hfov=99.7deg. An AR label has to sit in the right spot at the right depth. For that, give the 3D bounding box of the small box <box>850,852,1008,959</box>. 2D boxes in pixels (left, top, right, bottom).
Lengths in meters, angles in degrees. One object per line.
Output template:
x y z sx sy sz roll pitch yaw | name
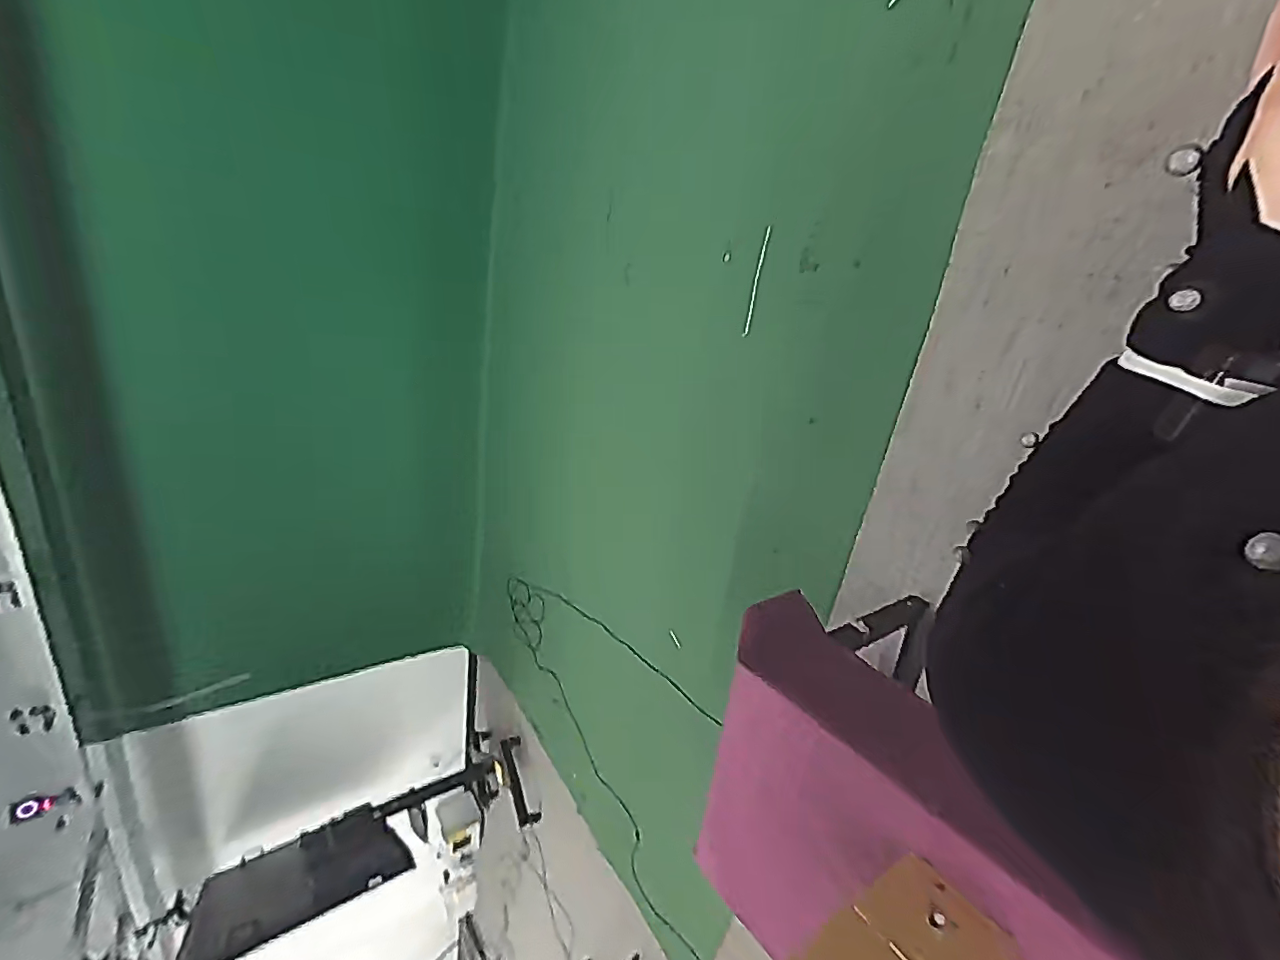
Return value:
0.413 0.712 0.805 0.168 0.176 0.179 29 118 48 | small box

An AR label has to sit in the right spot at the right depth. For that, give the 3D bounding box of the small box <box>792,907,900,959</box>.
0.280 0.726 0.708 0.179 0.176 0.168 28 117 48 | small box
